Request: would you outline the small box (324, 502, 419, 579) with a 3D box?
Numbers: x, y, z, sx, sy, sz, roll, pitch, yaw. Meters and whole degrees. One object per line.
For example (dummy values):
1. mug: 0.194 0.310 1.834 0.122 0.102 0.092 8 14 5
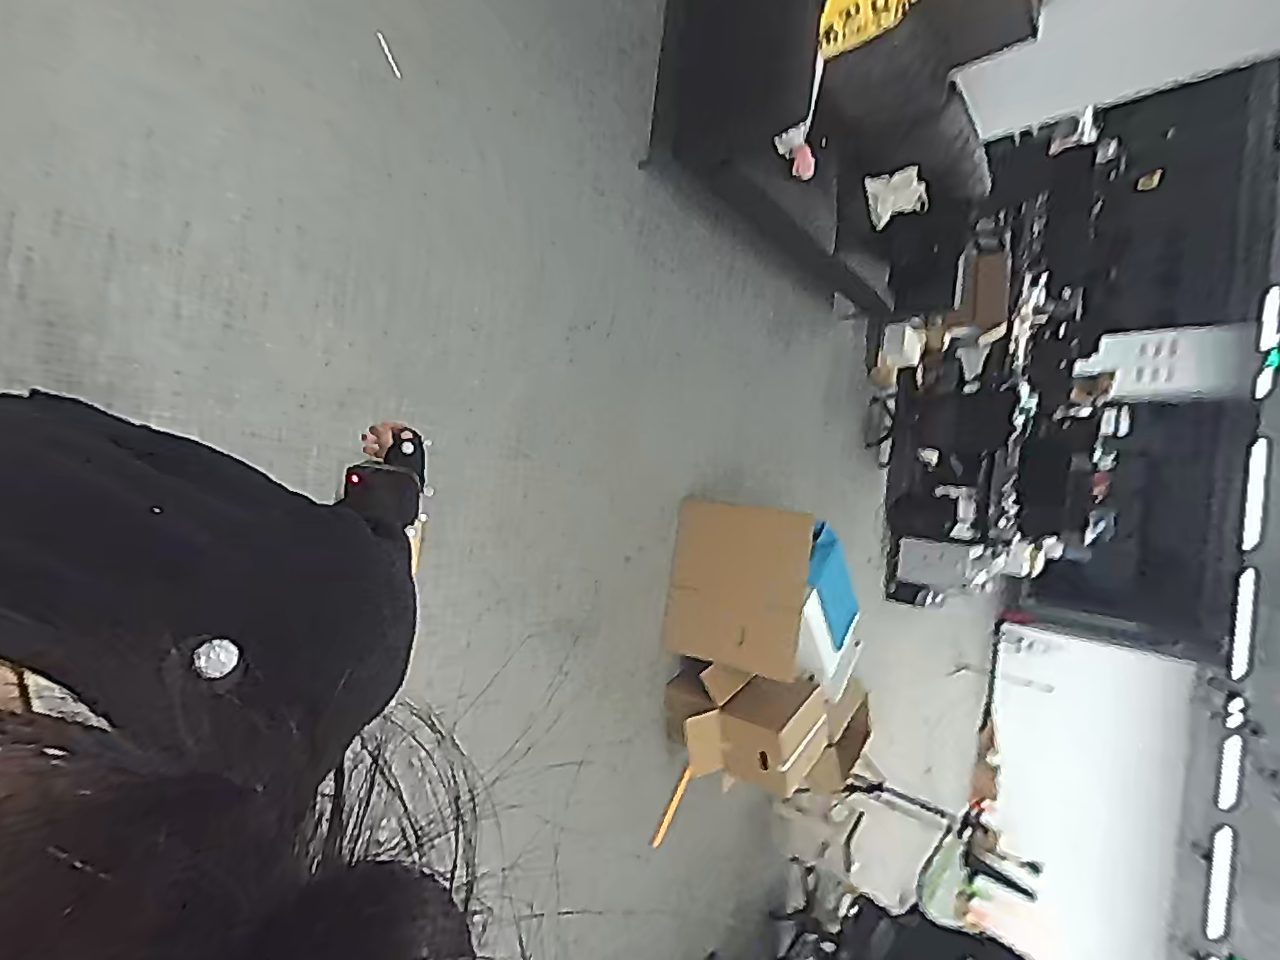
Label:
1. small box: -0.707 0.157 1.418 0.168 0.176 0.179 8 87 -49
